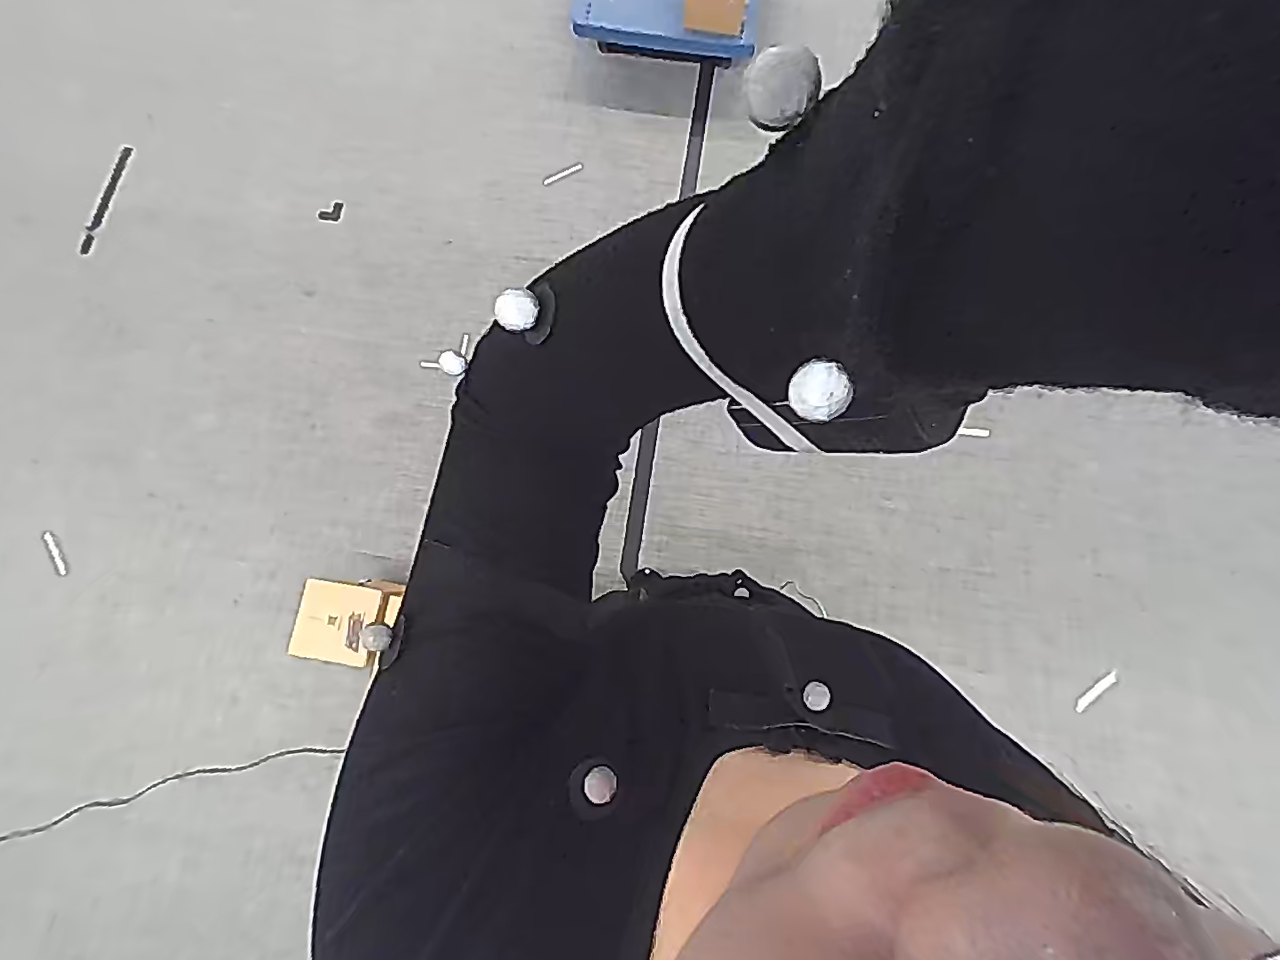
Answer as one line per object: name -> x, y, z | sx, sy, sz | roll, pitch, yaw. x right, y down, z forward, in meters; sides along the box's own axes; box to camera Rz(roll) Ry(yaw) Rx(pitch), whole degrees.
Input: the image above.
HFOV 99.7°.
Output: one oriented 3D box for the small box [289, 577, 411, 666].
small box -> -0.658, 0.322, 1.254 | 0.179, 0.176, 0.168 | 9, 79, 3
